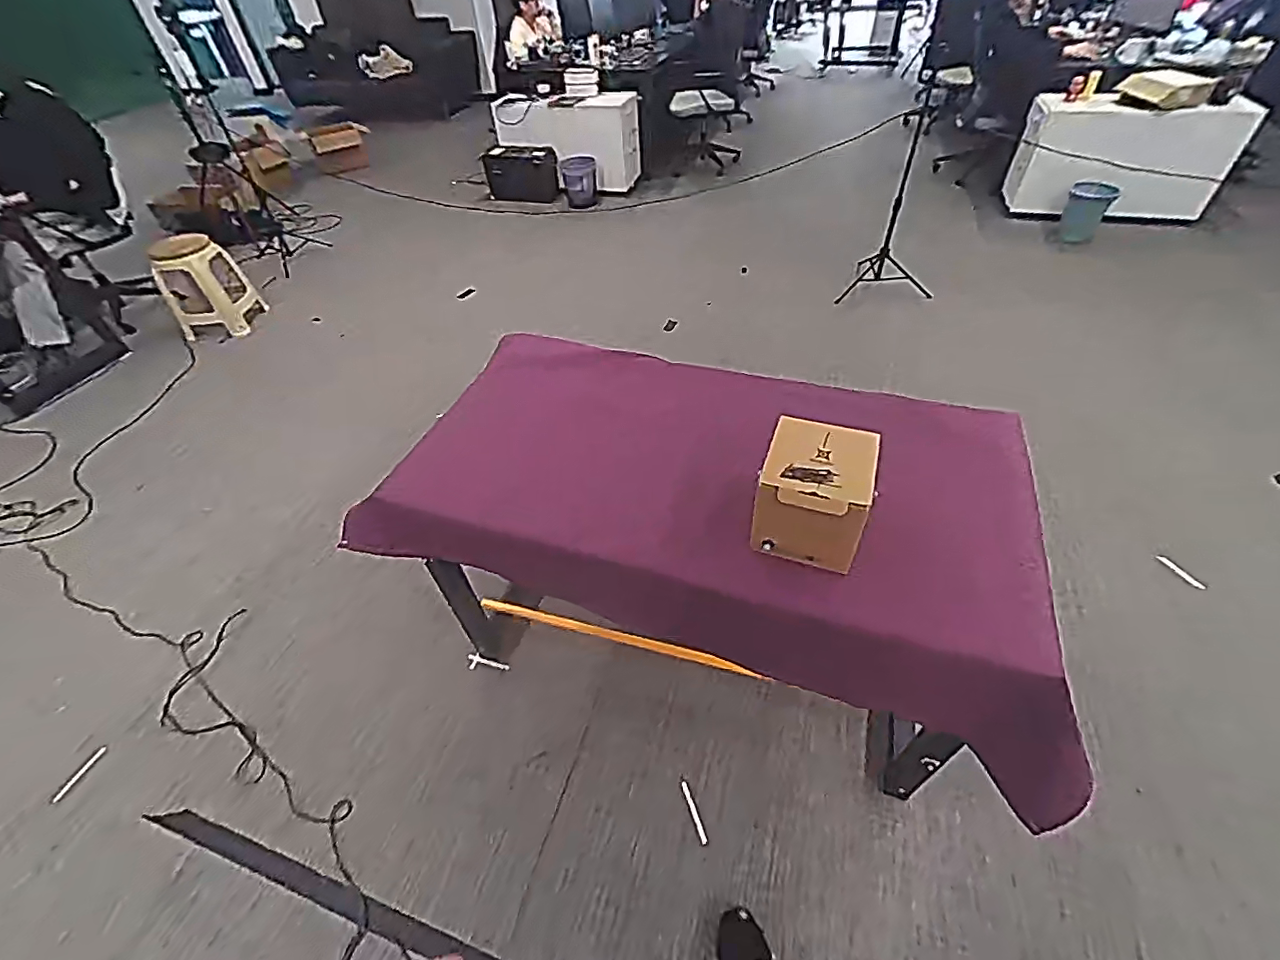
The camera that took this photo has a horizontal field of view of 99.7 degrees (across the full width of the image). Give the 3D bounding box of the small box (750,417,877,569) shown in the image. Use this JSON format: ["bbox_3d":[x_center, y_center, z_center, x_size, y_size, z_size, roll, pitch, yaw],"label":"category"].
[{"bbox_3d":[0.287,0.023,0.913,0.168,0.176,0.179,14,48,17],"label":"small box"}]
